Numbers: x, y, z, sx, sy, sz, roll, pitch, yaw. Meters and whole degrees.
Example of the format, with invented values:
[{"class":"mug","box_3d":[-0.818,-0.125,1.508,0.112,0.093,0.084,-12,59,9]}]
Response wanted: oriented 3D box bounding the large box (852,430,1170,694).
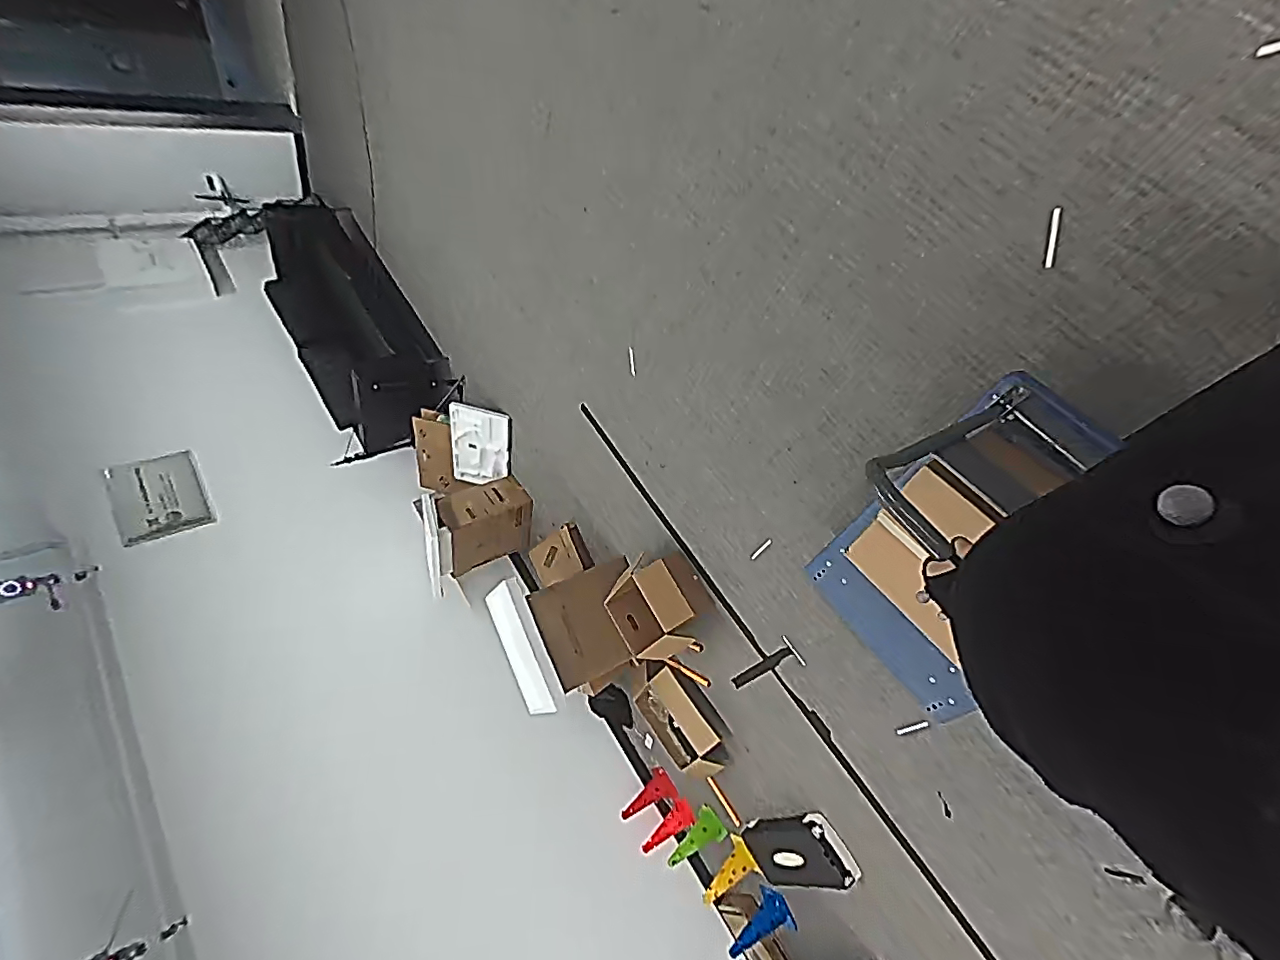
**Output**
[{"class":"large box","box_3d":[0.764,0.159,1.155,0.408,0.320,0.320,50,141,27]}]
